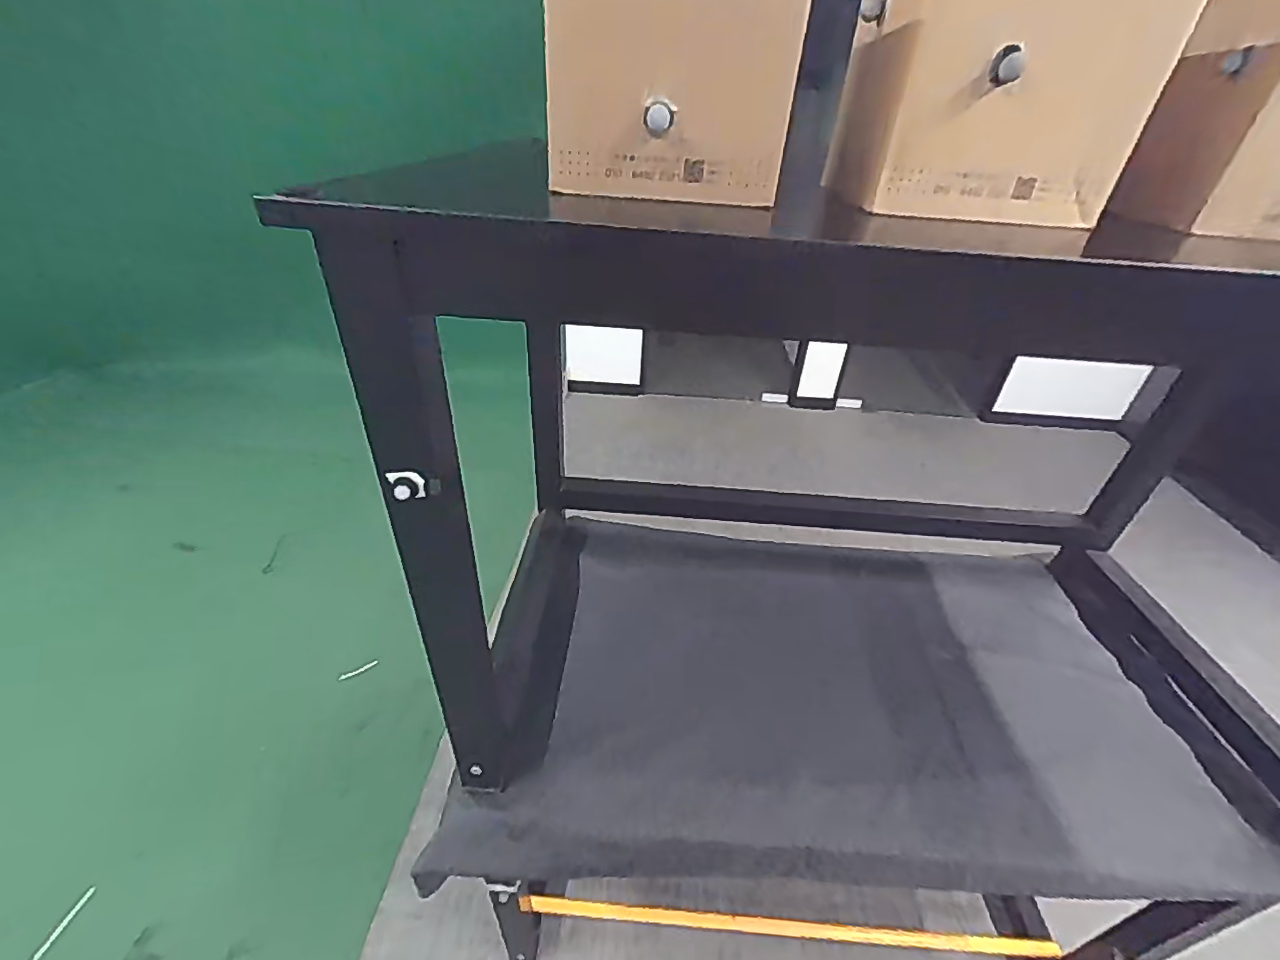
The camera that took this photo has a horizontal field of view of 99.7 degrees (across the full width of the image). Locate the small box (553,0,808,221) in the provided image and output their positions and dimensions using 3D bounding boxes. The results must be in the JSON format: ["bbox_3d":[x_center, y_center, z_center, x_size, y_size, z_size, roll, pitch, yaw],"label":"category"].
[{"bbox_3d":[0.024,-0.318,0.431,0.168,0.176,0.179,4,36,0],"label":"small box"}]
